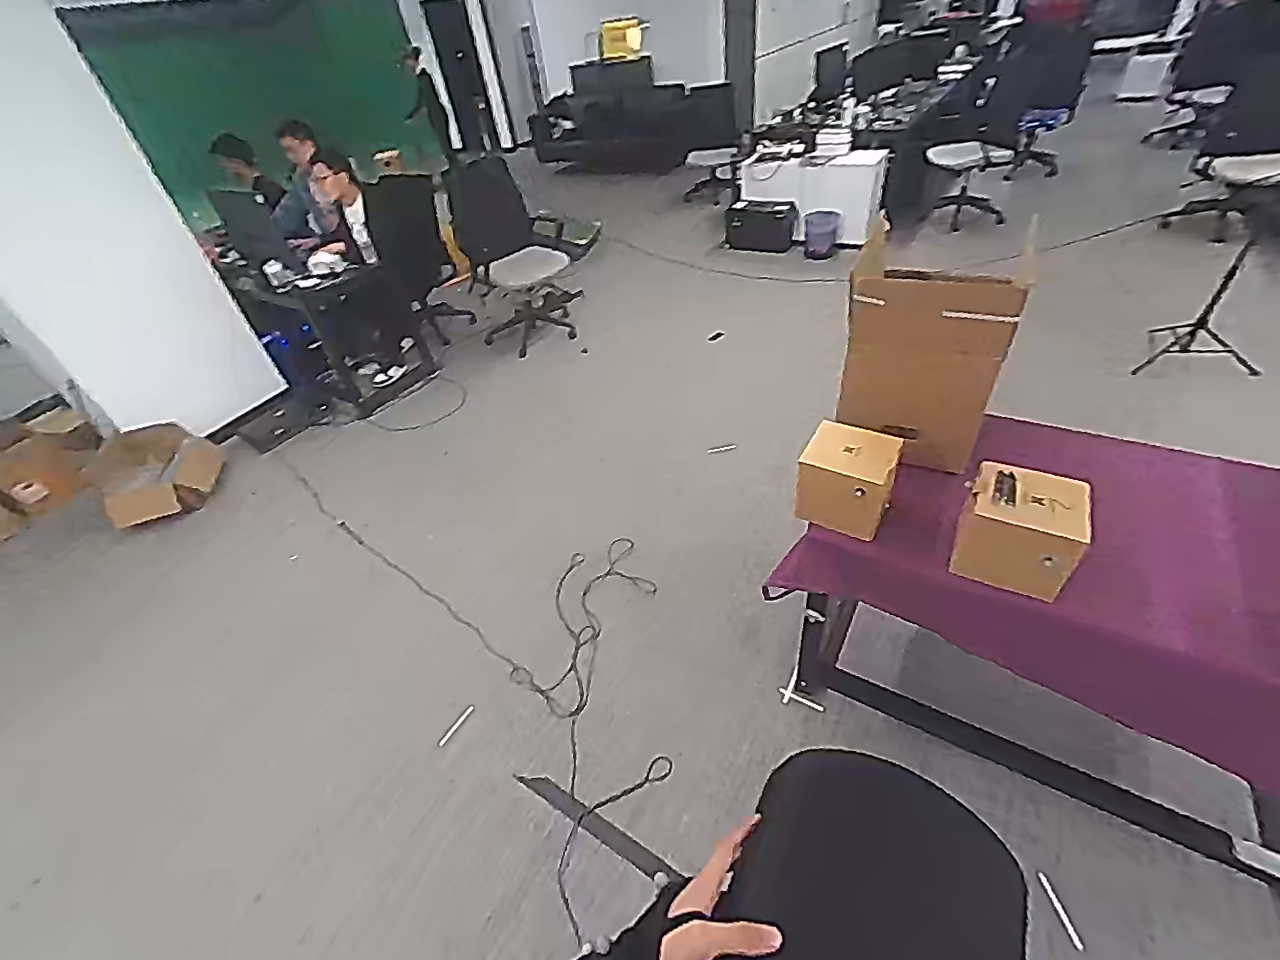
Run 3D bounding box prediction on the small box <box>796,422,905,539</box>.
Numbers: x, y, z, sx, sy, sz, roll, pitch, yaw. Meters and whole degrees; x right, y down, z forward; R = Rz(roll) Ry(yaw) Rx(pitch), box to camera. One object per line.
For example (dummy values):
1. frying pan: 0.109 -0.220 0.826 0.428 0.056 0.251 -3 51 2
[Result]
1. small box: 0.455 0.002 1.189 0.179 0.176 0.168 20 48 27
